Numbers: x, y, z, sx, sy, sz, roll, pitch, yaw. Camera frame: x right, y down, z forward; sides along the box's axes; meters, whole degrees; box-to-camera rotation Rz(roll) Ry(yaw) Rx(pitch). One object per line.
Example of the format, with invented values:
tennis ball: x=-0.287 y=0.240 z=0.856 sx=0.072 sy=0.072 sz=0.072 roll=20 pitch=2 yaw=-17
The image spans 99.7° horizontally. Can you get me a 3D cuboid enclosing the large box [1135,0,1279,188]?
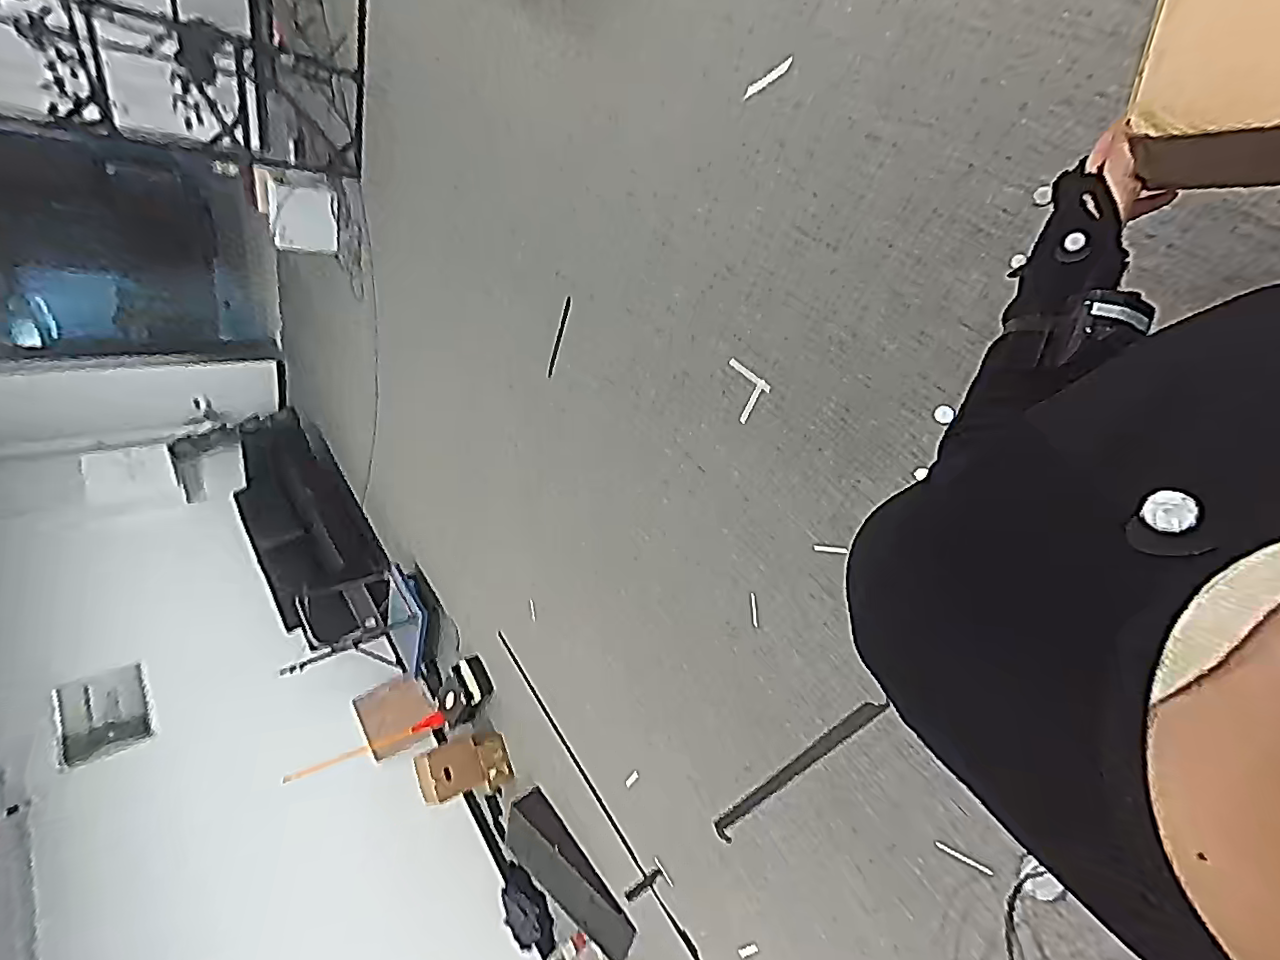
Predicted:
large box: x=0.459 y=-0.294 z=0.167 sx=0.408 sy=0.320 sz=0.320 roll=17 pitch=119 yaw=37
